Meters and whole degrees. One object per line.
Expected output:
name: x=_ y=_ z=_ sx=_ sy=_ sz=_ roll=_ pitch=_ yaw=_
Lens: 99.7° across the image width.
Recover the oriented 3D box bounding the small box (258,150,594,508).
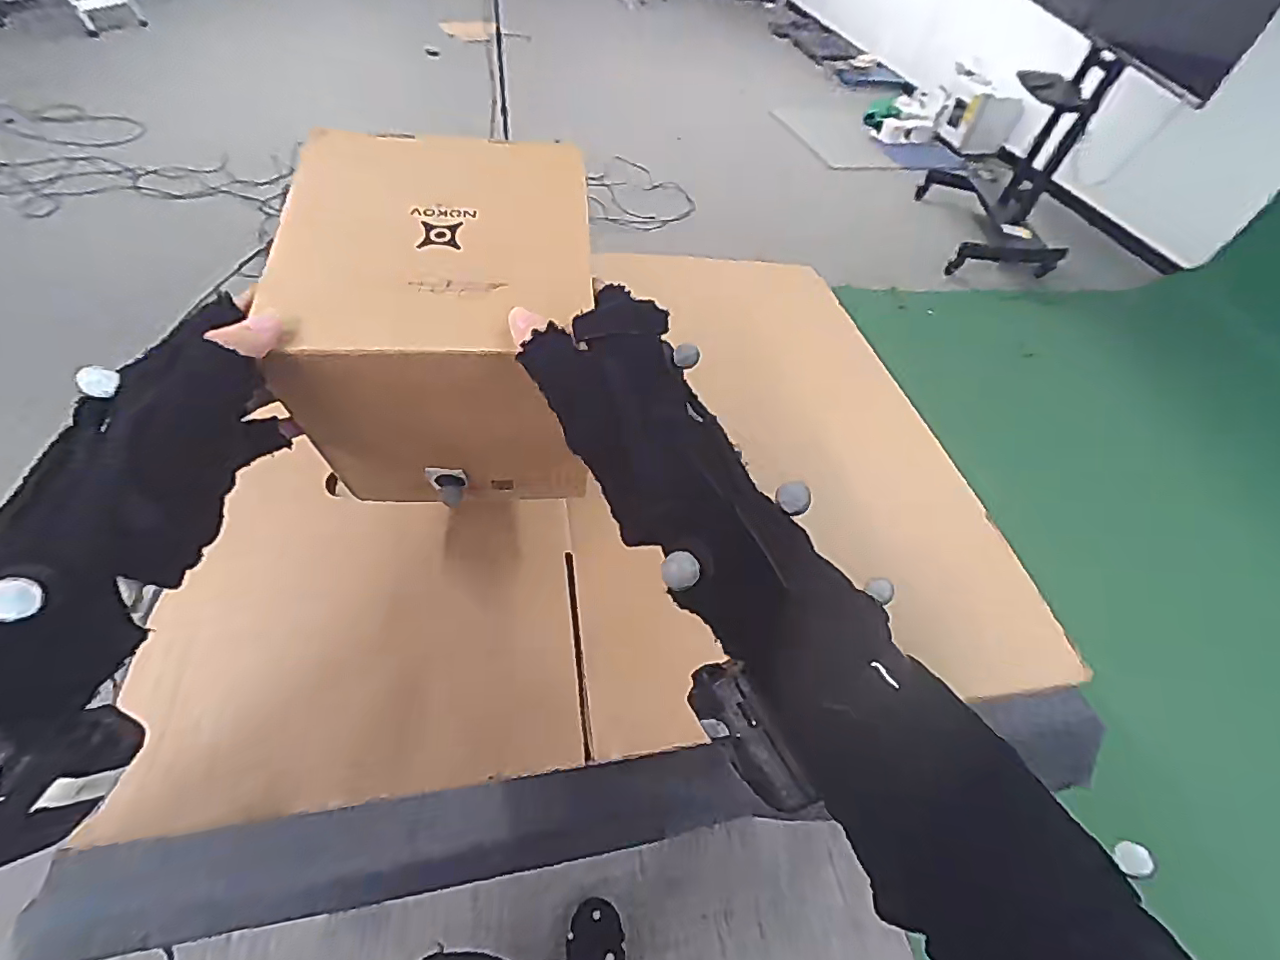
small box: x=-0.121 y=-0.095 z=0.381 sx=0.168 sy=0.176 sz=0.179 roll=-3 pitch=63 yaw=-8
